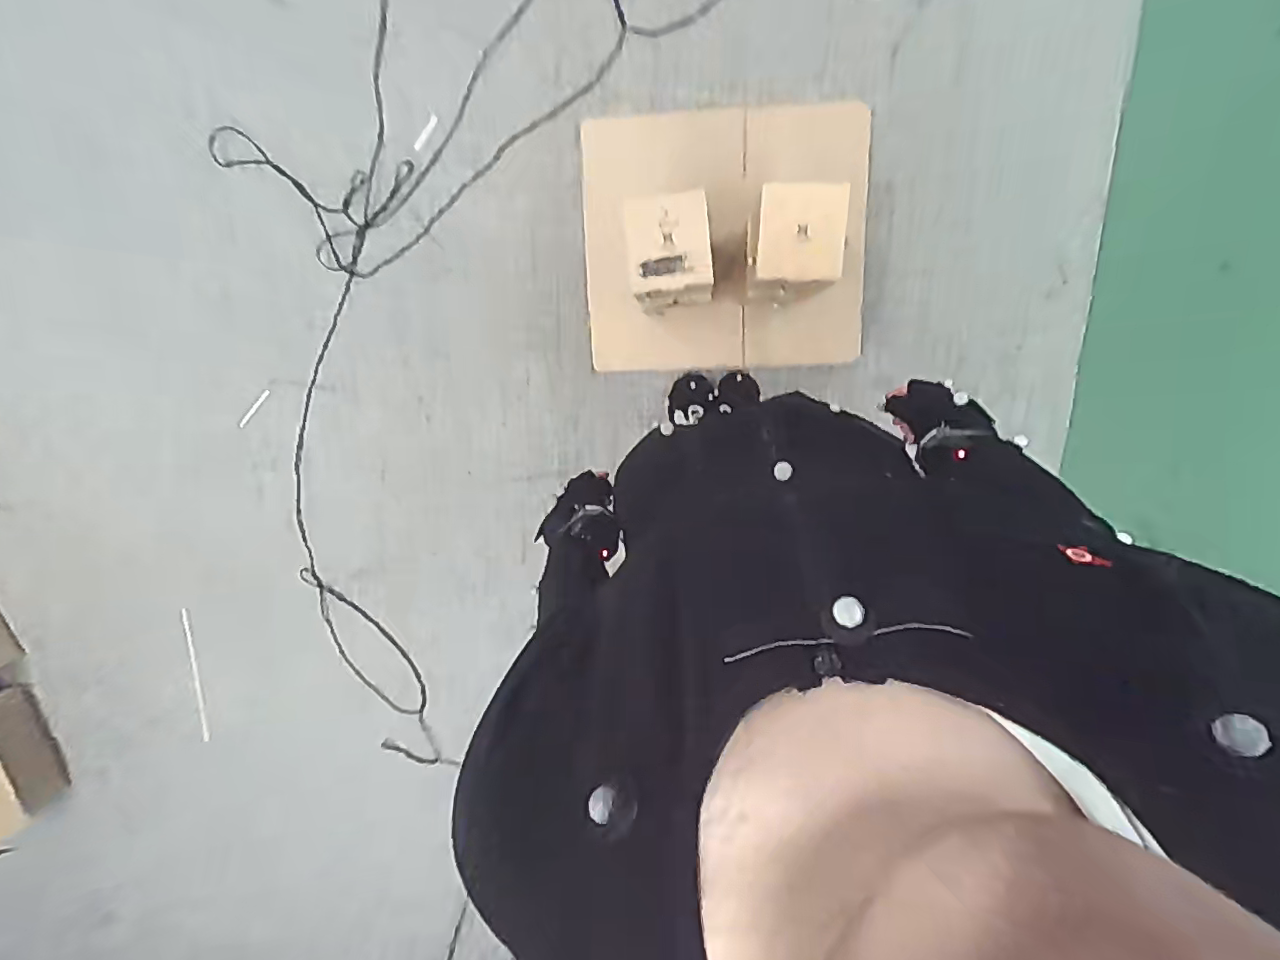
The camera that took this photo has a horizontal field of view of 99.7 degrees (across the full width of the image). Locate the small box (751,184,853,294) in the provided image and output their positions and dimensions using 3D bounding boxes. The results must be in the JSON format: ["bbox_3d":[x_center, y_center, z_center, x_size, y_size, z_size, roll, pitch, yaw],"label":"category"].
[{"bbox_3d":[0.323,-0.489,1.114,0.168,0.176,0.179,2,102,5],"label":"small box"}]

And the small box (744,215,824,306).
[{"bbox_3d":[0.336,-0.514,1.274,0.168,0.176,0.179,-1,102,7],"label":"small box"}]

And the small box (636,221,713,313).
[{"bbox_3d":[0.086,-0.499,1.294,0.168,0.176,0.179,-5,101,6],"label":"small box"}]
